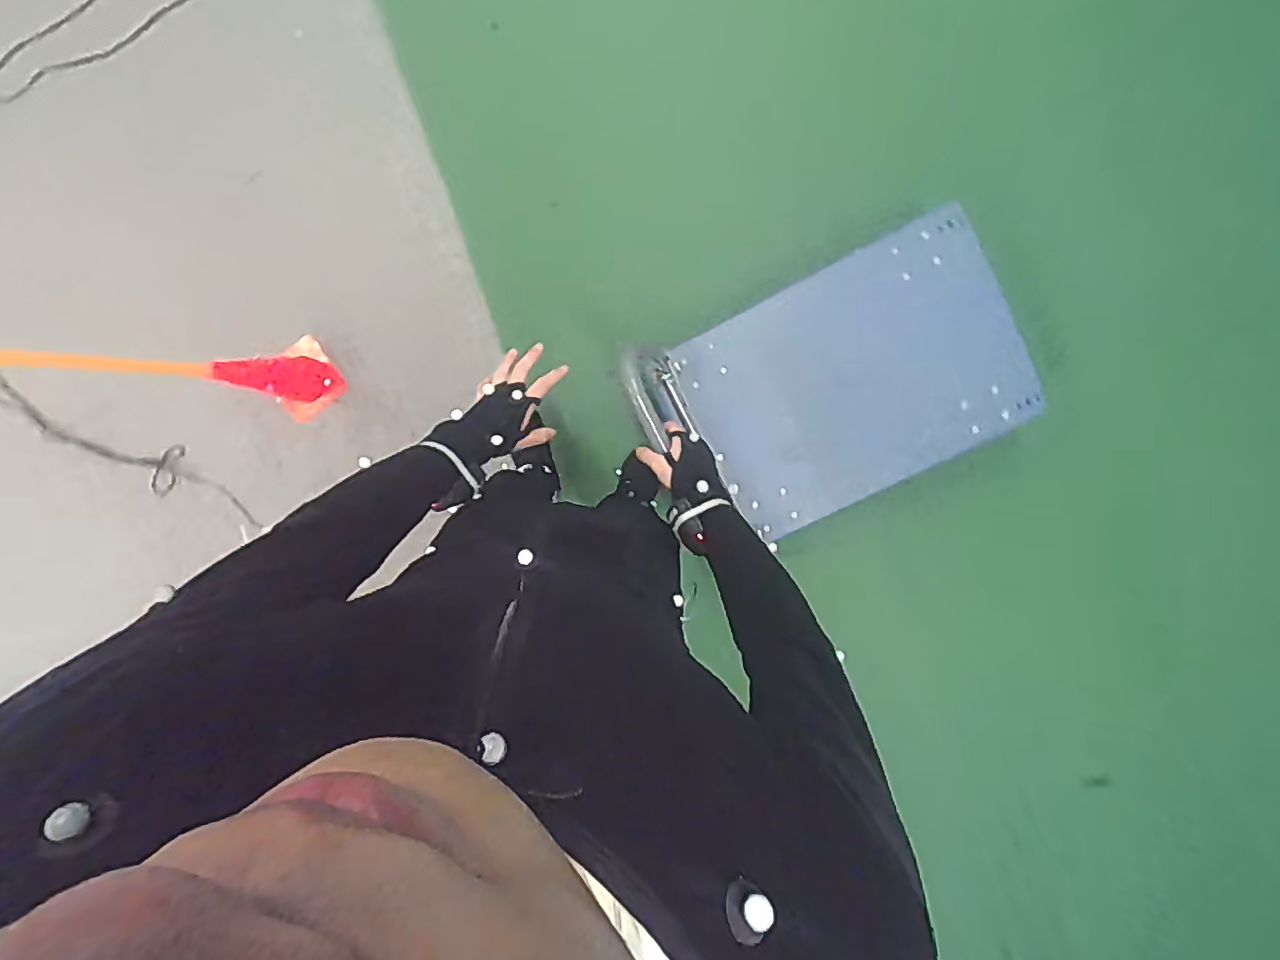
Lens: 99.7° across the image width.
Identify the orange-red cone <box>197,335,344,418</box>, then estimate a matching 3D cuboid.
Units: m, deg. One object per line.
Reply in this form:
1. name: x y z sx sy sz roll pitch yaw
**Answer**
1. orange-red cone: -1.021 -0.291 1.451 0.198 0.360 0.199 -33 93 6
